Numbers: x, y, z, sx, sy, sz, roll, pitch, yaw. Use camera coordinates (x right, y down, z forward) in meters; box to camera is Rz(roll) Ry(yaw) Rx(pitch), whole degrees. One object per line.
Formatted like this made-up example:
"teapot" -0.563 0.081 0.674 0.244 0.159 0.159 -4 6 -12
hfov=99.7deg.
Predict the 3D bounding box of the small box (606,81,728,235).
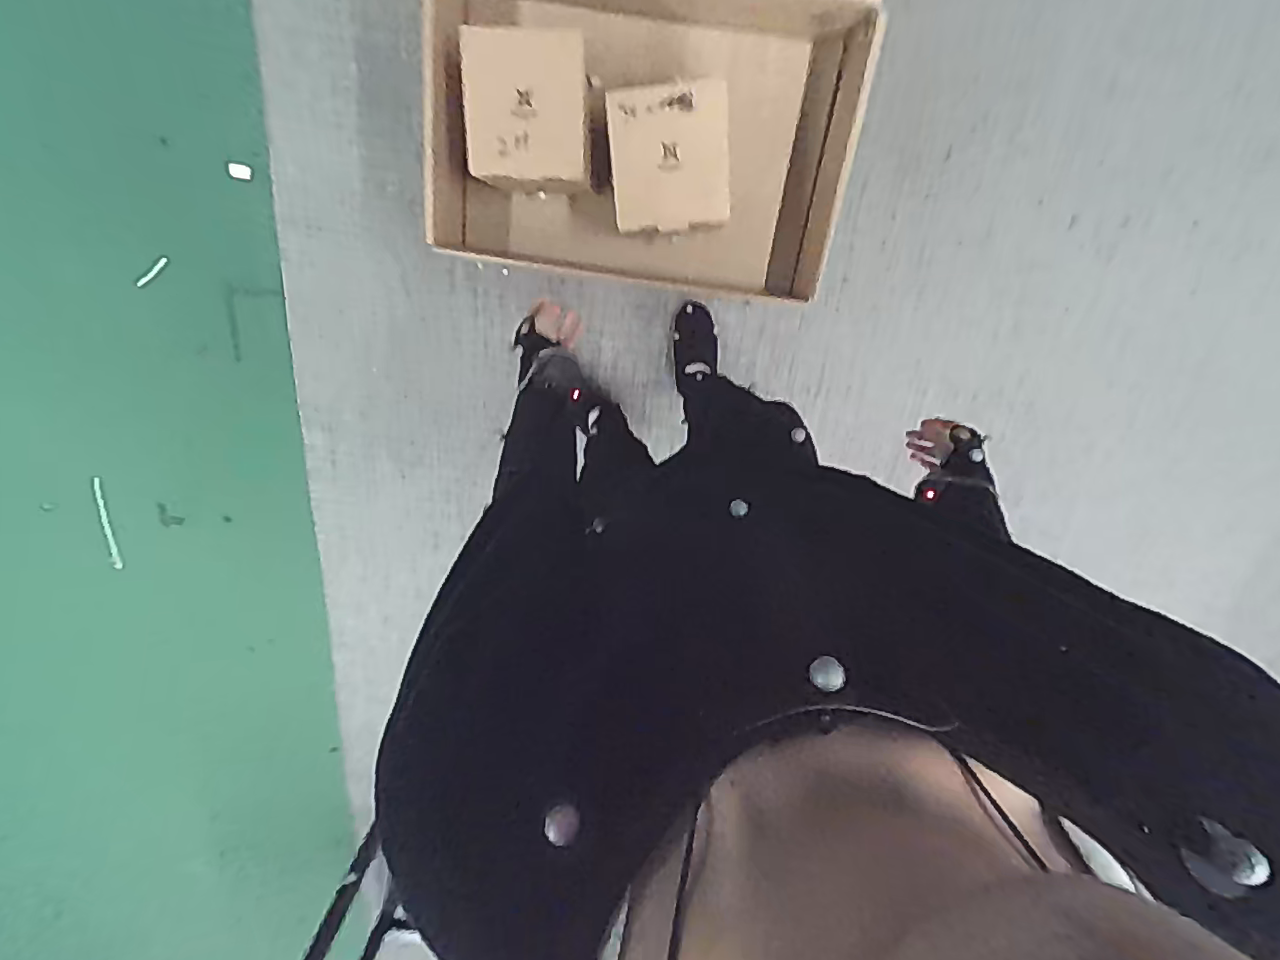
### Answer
"small box" 0.044 -0.473 0.822 0.168 0.176 0.179 -3 111 3

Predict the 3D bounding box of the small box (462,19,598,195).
"small box" -0.155 -0.538 0.805 0.168 0.176 0.179 5 111 1
